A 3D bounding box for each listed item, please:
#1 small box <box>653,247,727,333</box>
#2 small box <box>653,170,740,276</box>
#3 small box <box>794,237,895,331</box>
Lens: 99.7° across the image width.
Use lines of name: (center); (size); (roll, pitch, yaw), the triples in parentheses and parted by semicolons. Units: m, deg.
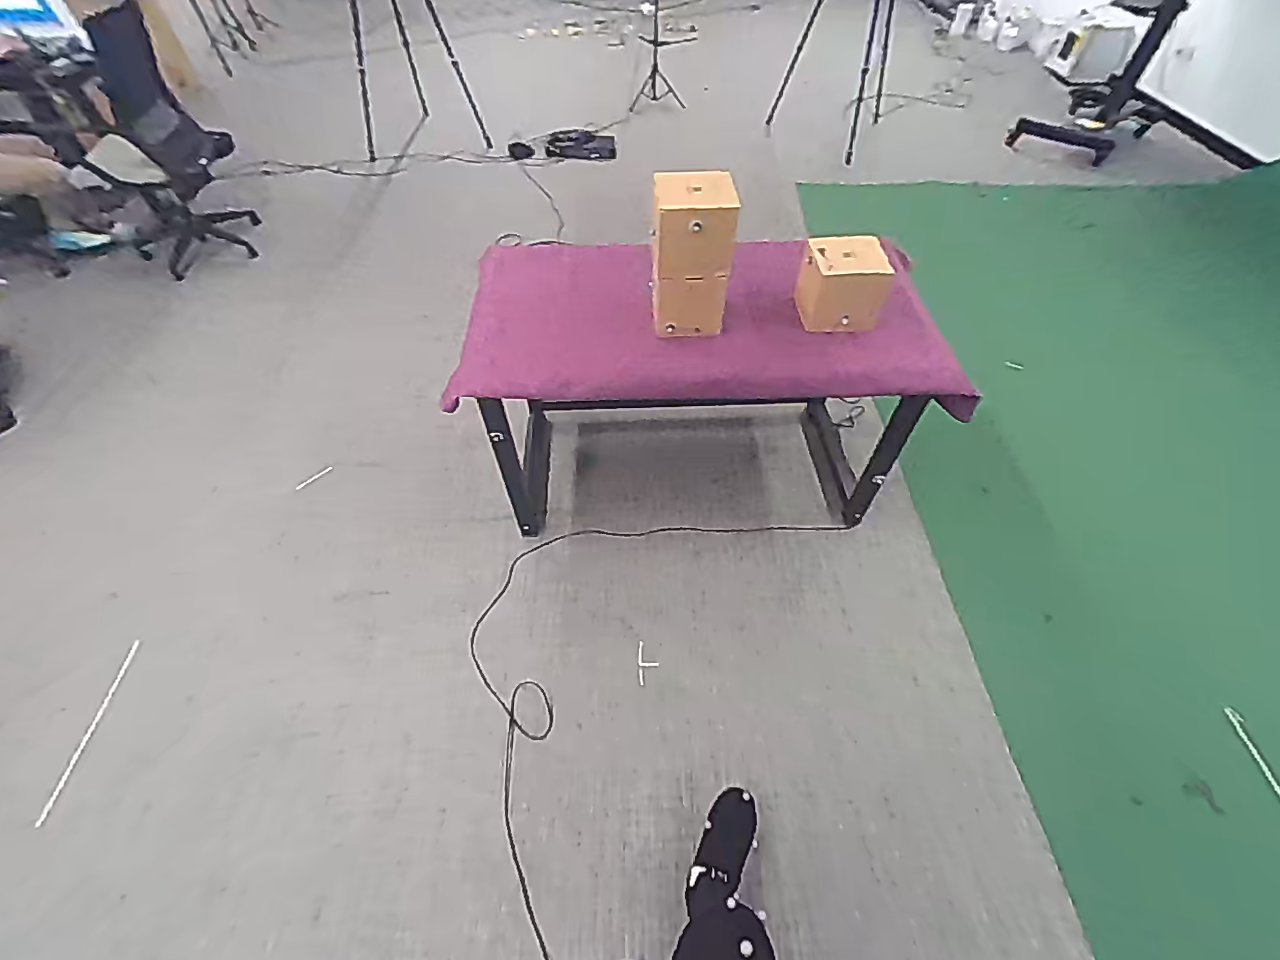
small box: (0.119, -0.487, 1.367); (0.168, 0.176, 0.179); (-2, 52, -2)
small box: (0.121, -0.583, 1.235); (0.179, 0.176, 0.168); (-1, 54, -3)
small box: (0.510, -0.495, 1.377); (0.179, 0.176, 0.168); (-1, 52, -1)
